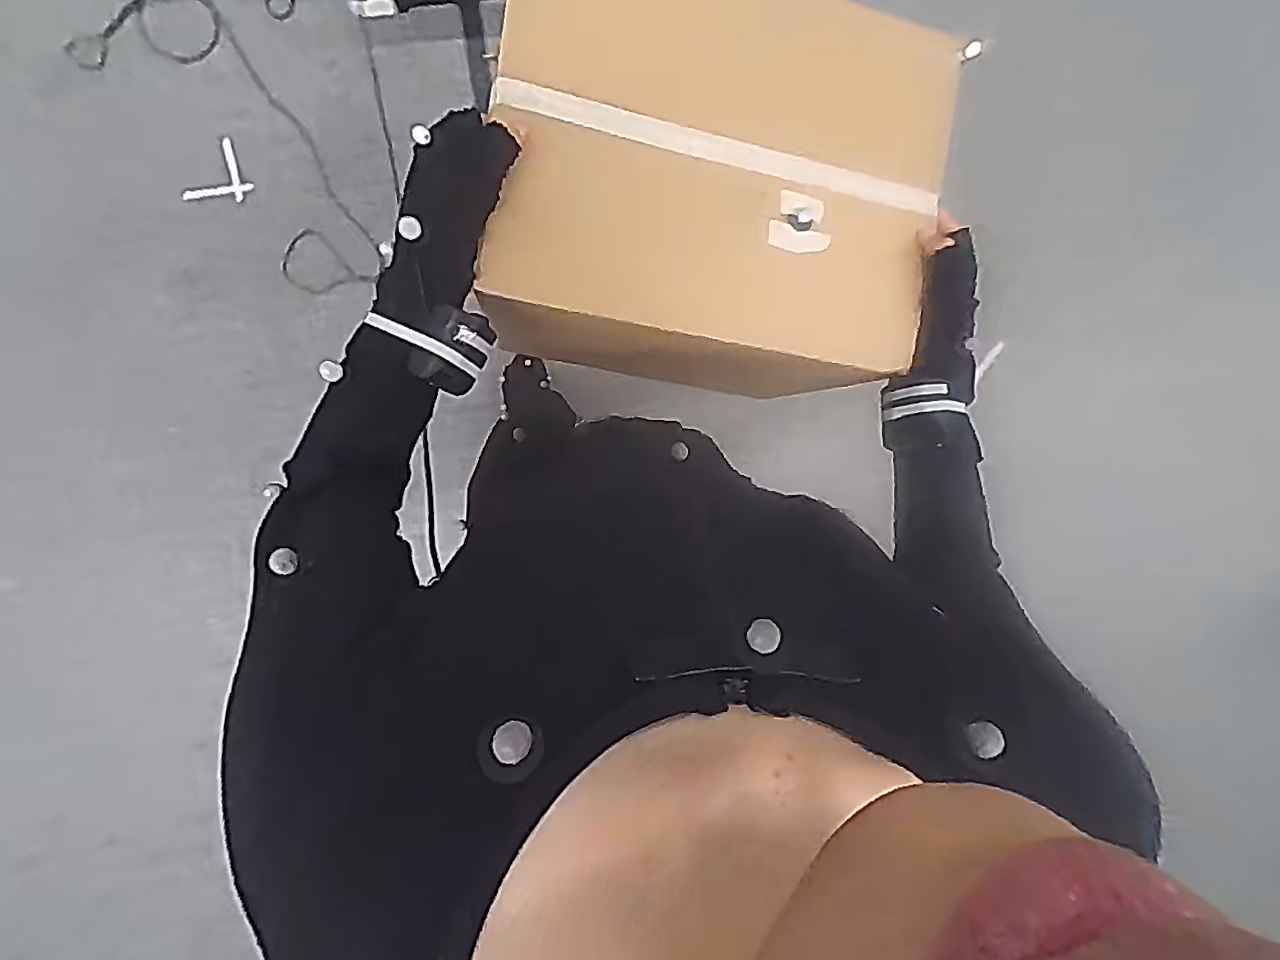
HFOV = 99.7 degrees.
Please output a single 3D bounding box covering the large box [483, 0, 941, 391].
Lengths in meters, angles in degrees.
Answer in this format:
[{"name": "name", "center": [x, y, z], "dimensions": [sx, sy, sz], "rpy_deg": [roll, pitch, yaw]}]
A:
[{"name": "large box", "center": [0.048, -0.297, 0.626], "dimensions": [0.408, 0.320, 0.320], "rpy_deg": [7, 93, -12]}]
